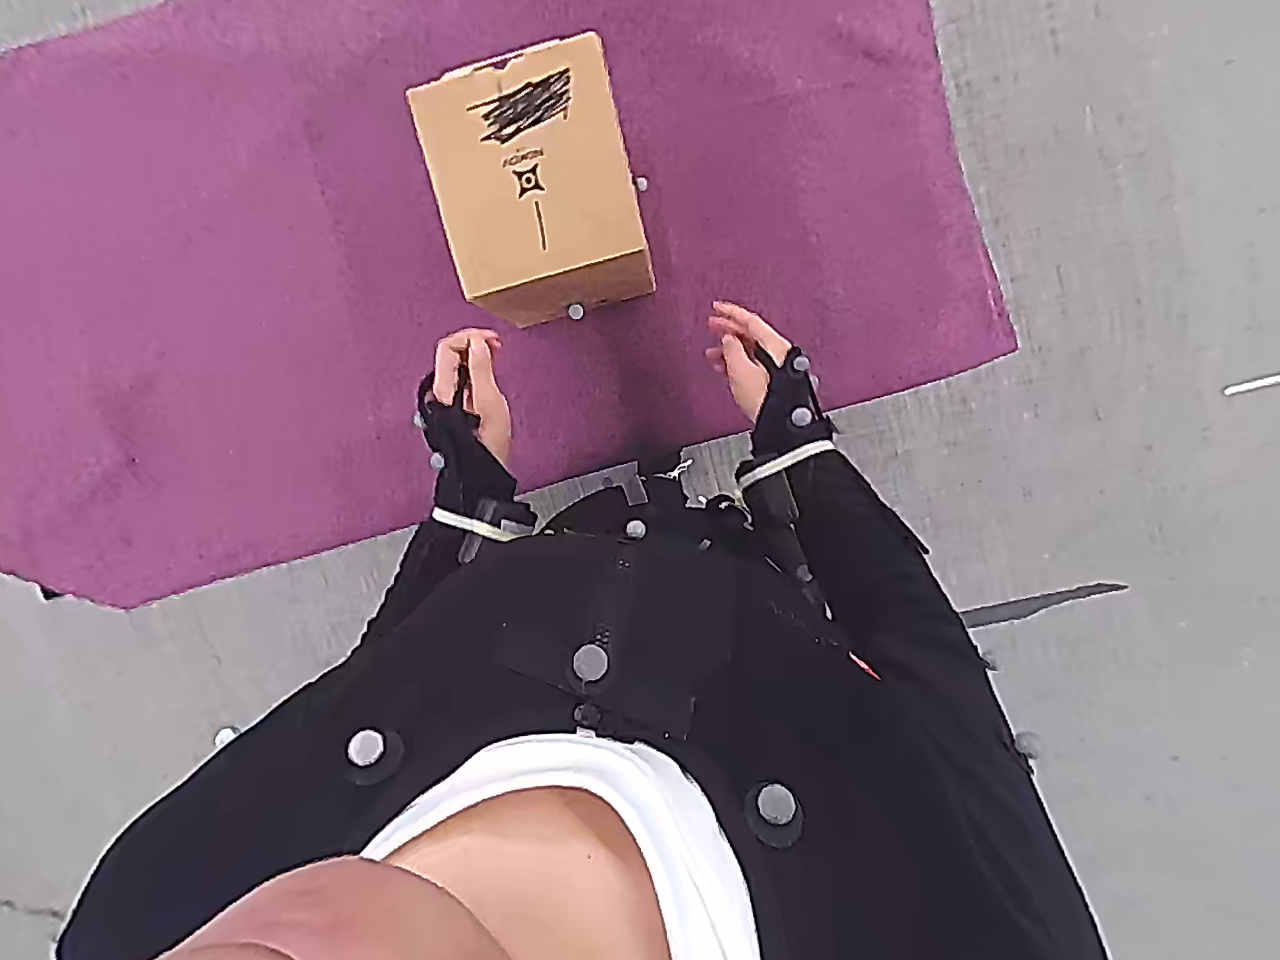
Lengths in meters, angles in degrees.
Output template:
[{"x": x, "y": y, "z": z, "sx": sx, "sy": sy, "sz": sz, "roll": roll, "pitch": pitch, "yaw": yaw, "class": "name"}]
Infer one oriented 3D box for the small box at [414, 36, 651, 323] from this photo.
[{"x": -0.088, "y": -0.272, "z": 0.534, "sx": 0.168, "sy": 0.176, "sz": 0.179, "roll": -13, "pitch": 96, "yaw": 6, "class": "small box"}]
